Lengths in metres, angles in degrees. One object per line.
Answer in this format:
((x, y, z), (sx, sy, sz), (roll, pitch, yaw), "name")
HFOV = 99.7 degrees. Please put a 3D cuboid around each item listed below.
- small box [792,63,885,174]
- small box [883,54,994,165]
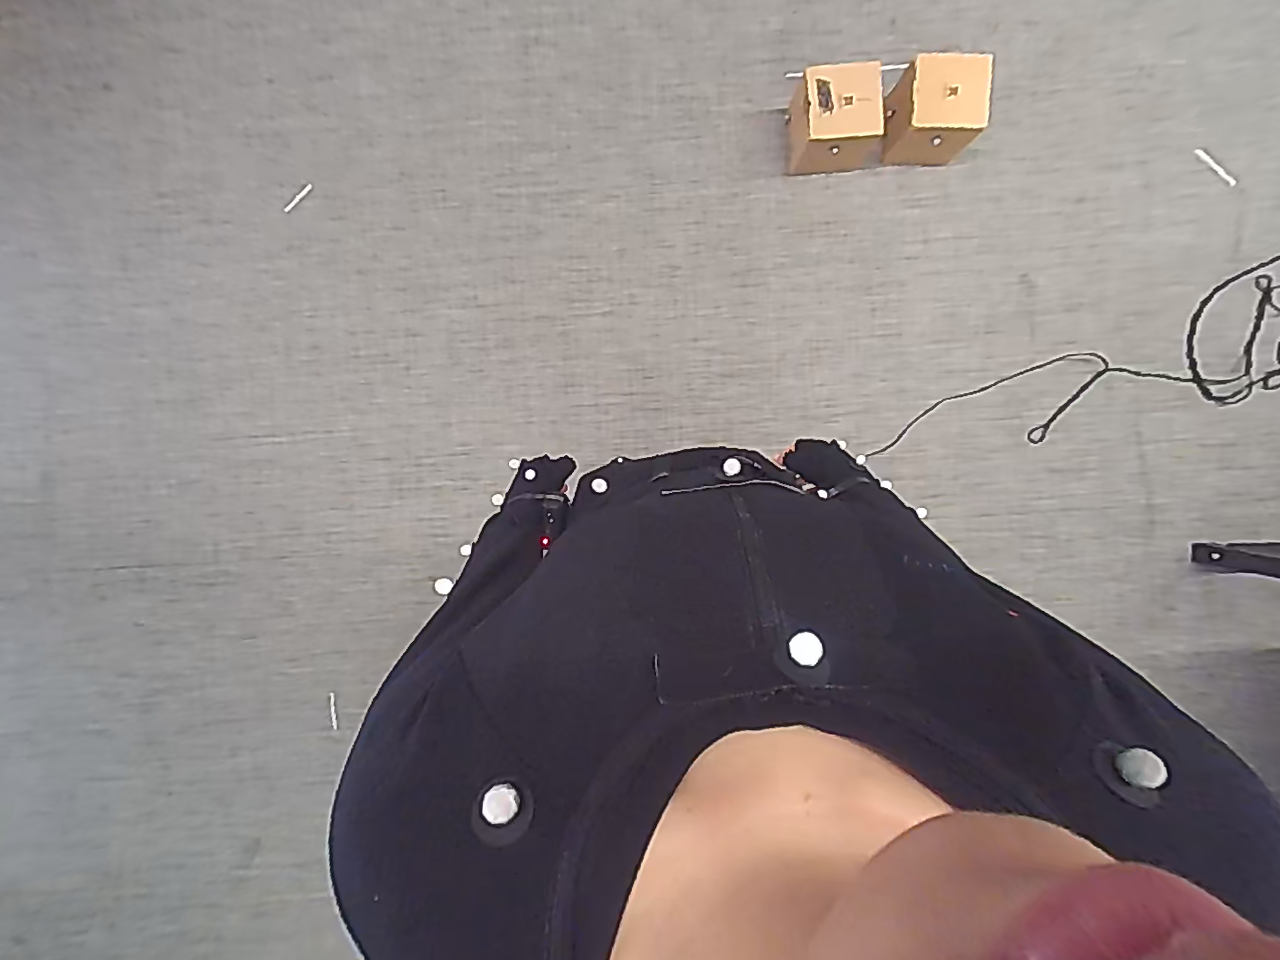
((0.478, -0.878, 1.329), (0.179, 0.176, 0.168), (-4, 94, 1), "small box")
((0.723, -0.898, 1.322), (0.179, 0.176, 0.168), (1, 94, 2), "small box")
